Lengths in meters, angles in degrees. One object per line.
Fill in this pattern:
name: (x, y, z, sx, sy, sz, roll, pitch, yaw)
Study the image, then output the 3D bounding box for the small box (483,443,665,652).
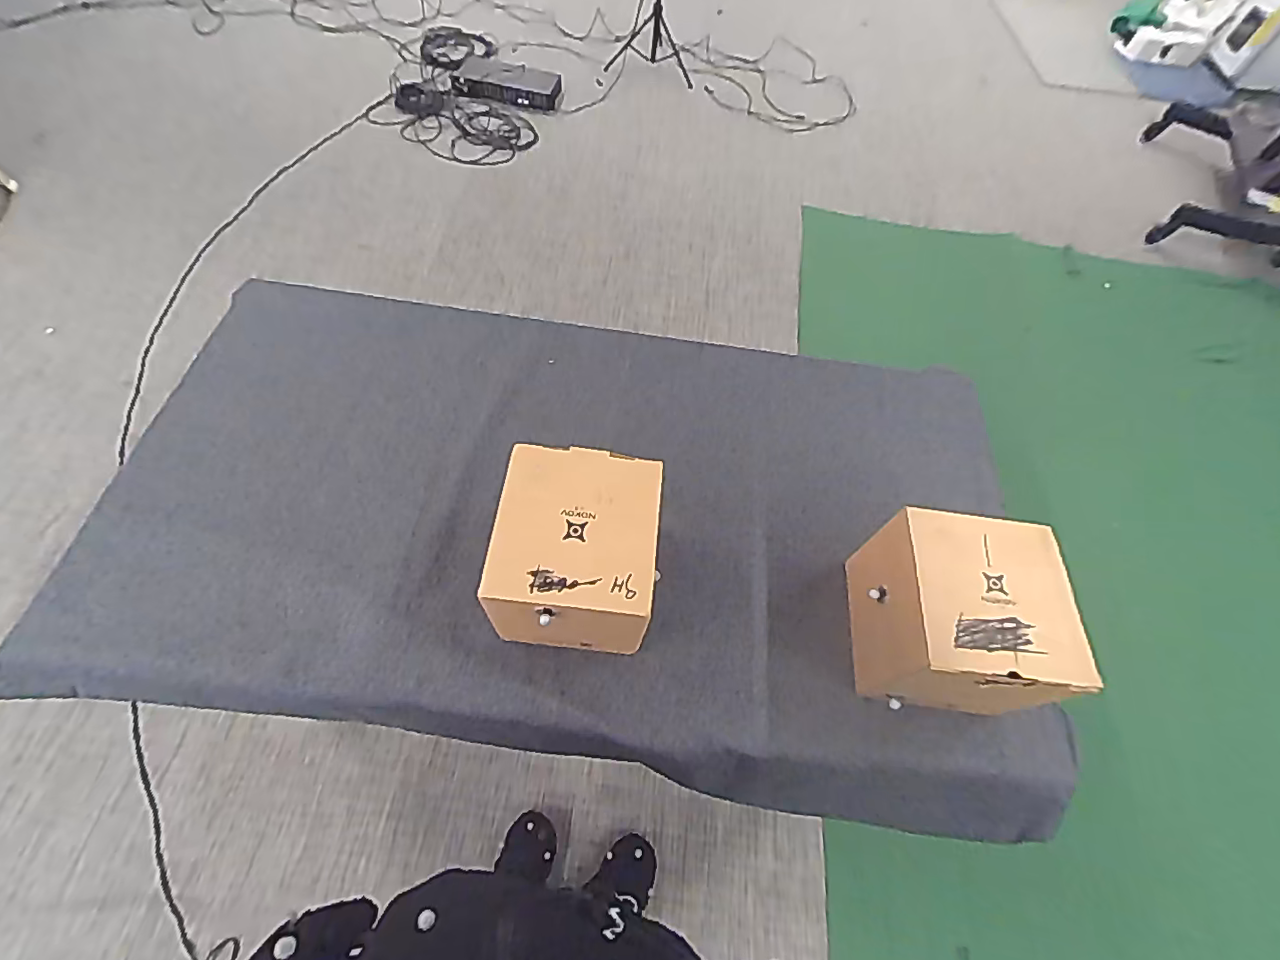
small box: (-0.069, 0.083, 0.625, 0.168, 0.176, 0.179, 7, 59, -1)

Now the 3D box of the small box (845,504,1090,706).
small box: (0.353, 0.152, 0.624, 0.168, 0.176, 0.179, 8, 59, 0)
